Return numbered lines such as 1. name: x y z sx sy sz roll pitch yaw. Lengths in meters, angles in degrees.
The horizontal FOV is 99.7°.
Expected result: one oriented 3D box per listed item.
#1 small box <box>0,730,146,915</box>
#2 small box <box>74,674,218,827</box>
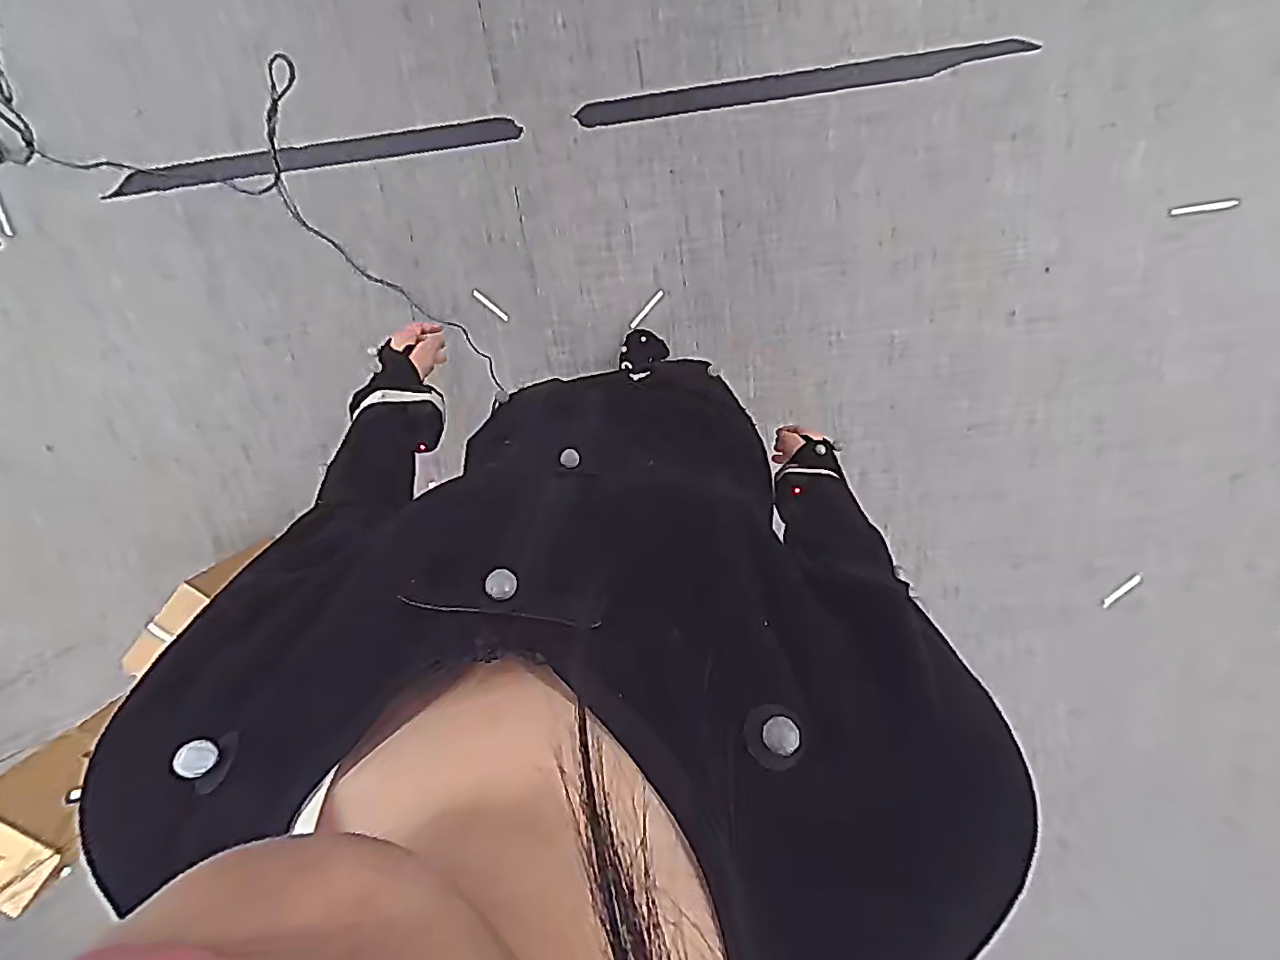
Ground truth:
1. small box: -1.013 0.573 0.925 0.168 0.176 0.179 40 103 -9
2. small box: -1.009 0.534 1.083 0.168 0.176 0.179 40 103 -9
